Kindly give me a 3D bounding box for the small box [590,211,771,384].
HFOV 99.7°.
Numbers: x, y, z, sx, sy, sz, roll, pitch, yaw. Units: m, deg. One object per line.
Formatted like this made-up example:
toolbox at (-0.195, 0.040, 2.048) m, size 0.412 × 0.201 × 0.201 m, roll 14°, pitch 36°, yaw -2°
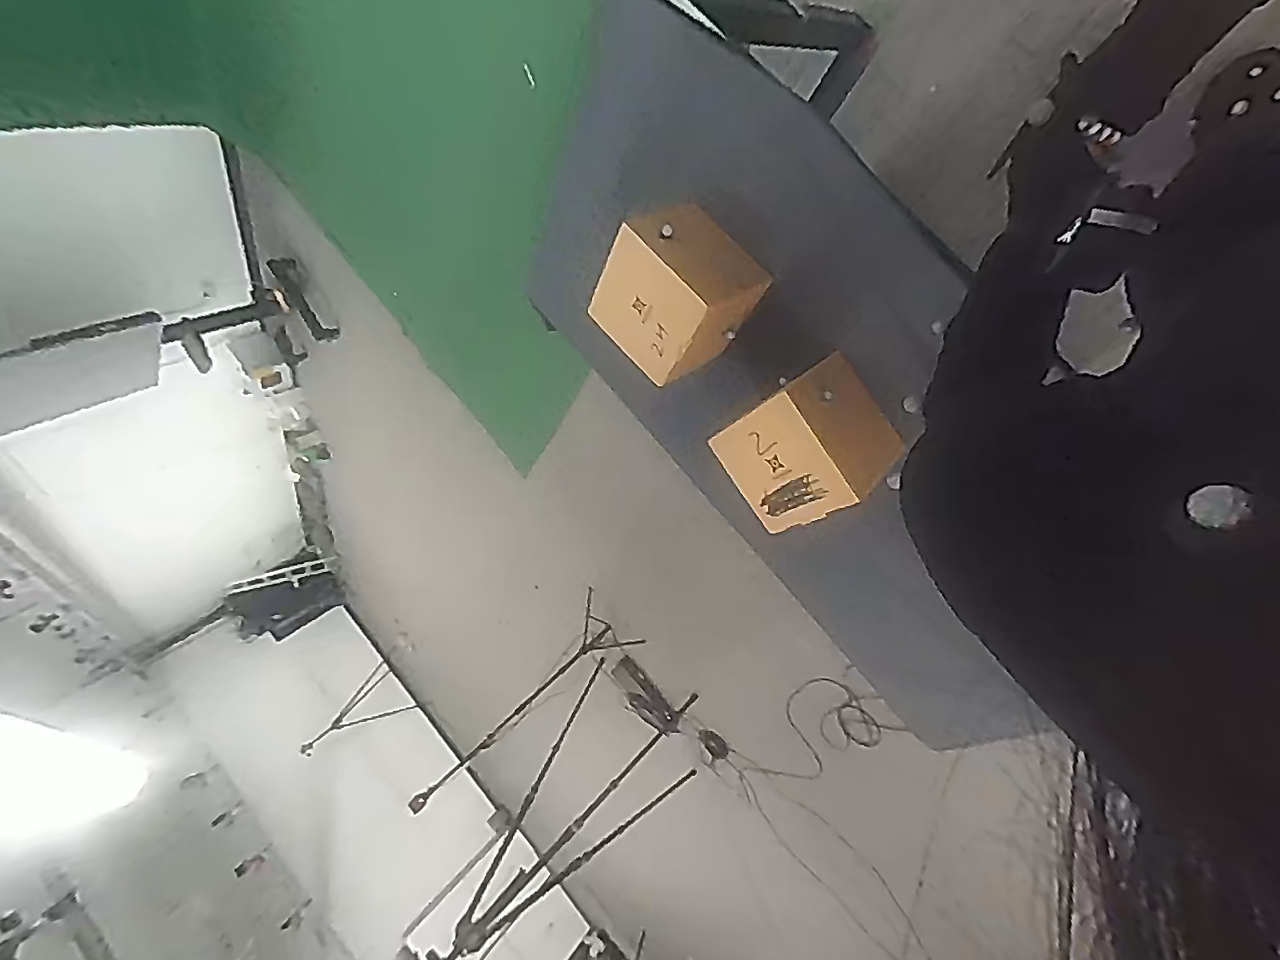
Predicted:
small box at (0.060, -0.281, 0.821) m, size 0.179 × 0.176 × 0.168 m, roll 48°, pitch 142°, yaw 9°
